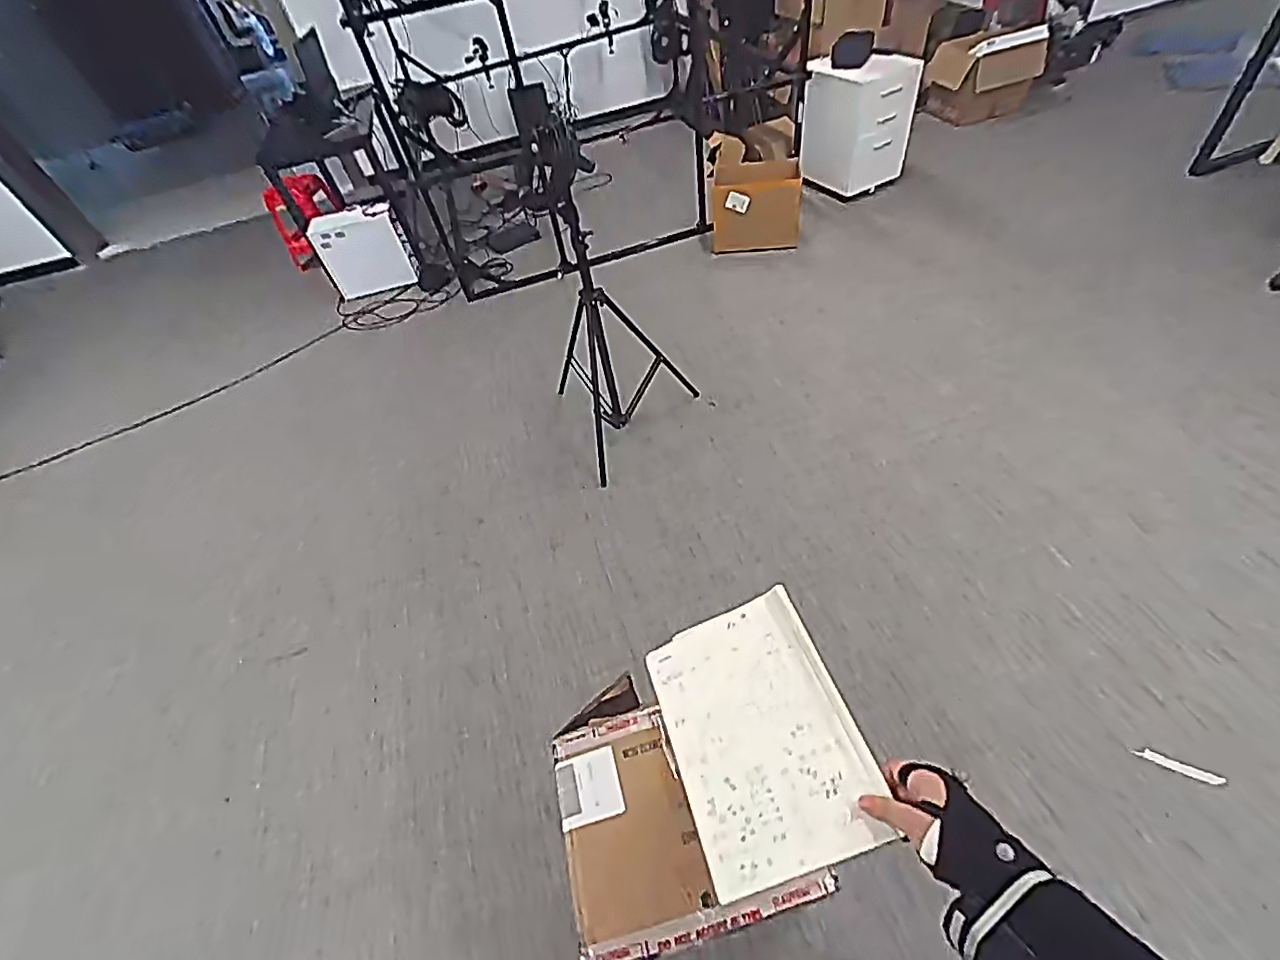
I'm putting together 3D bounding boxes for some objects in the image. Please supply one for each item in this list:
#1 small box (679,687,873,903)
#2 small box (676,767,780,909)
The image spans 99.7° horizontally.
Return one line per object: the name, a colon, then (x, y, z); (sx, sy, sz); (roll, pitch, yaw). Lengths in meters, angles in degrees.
small box: (0.150, 0.389, 0.667); (0.168, 0.176, 0.179); (-15, 50, -6)
small box: (0.163, 0.496, 0.791); (0.179, 0.176, 0.168); (-18, 50, -8)
